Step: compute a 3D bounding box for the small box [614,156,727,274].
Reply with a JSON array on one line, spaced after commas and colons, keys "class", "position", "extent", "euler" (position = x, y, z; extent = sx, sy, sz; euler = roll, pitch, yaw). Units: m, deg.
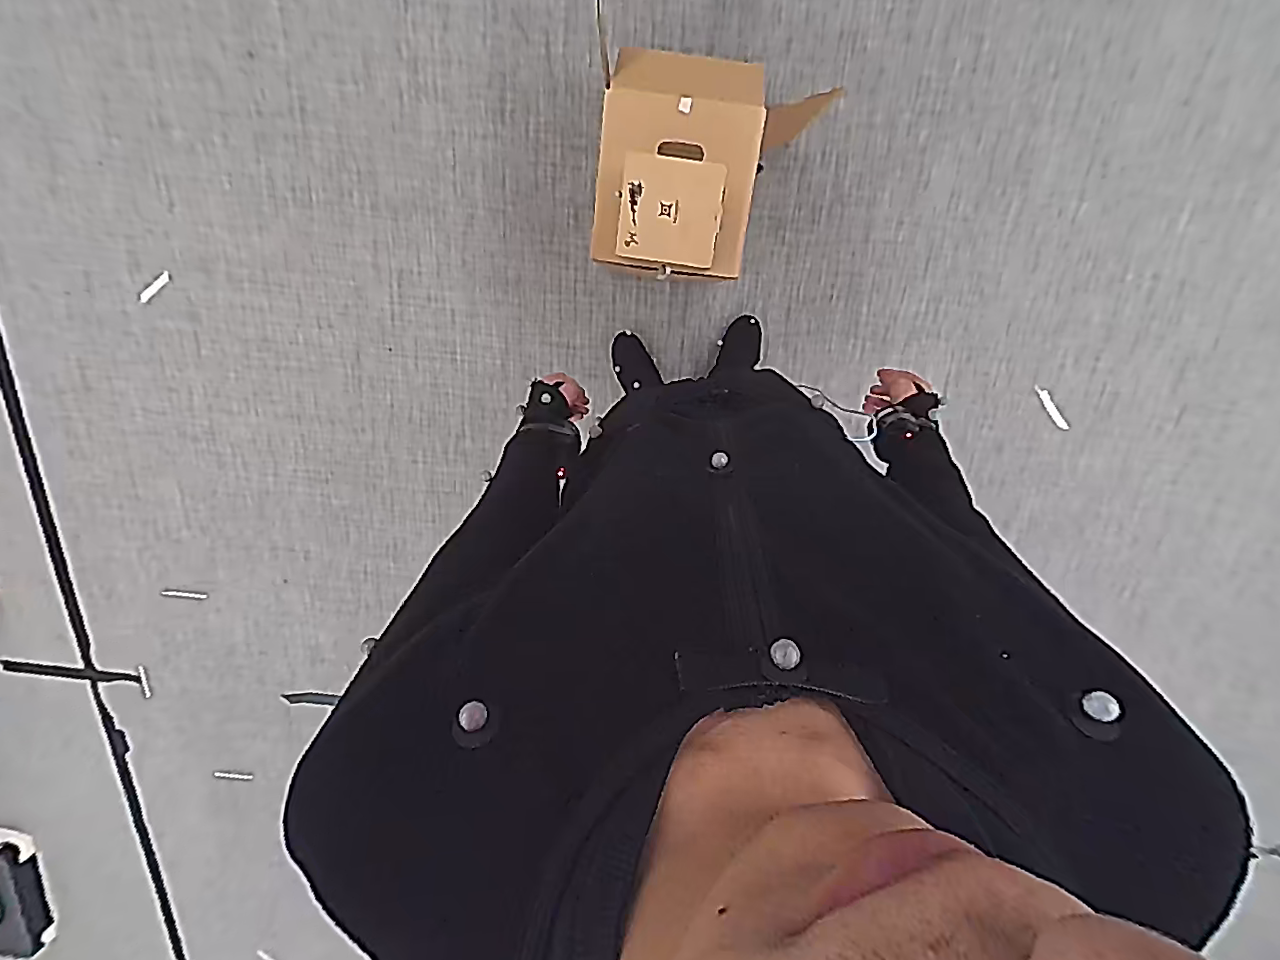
[{"class": "small box", "position": [0.053, -0.490, 1.020], "extent": [0.179, 0.176, 0.168], "euler": [8, 110, -1]}]
